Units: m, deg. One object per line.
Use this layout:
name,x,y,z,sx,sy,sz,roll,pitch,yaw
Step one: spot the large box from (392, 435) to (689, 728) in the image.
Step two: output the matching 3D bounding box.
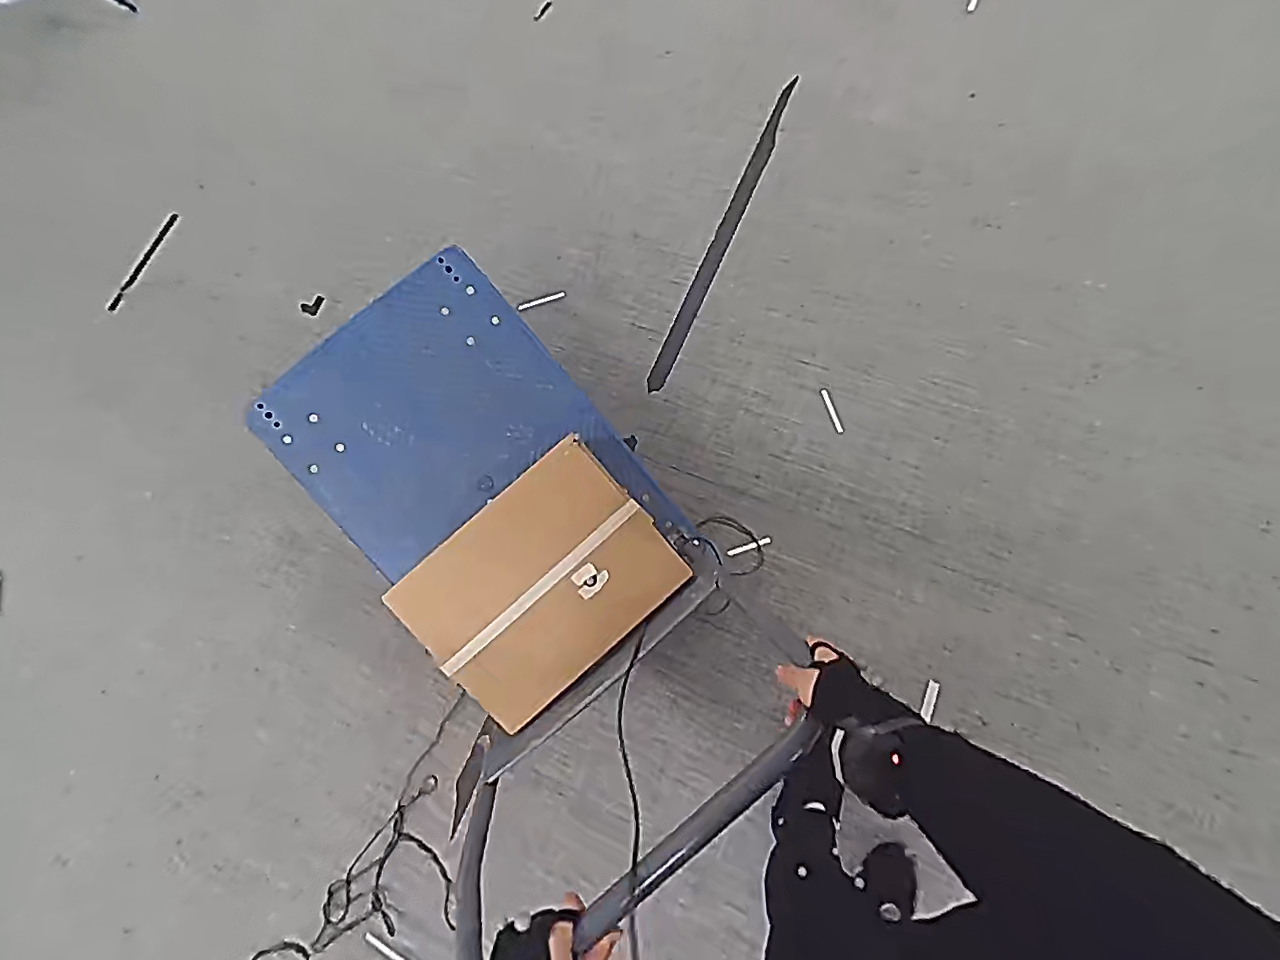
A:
large box,-0.174,0.169,1.042,0.408,0.320,0.320,-42,95,-4
